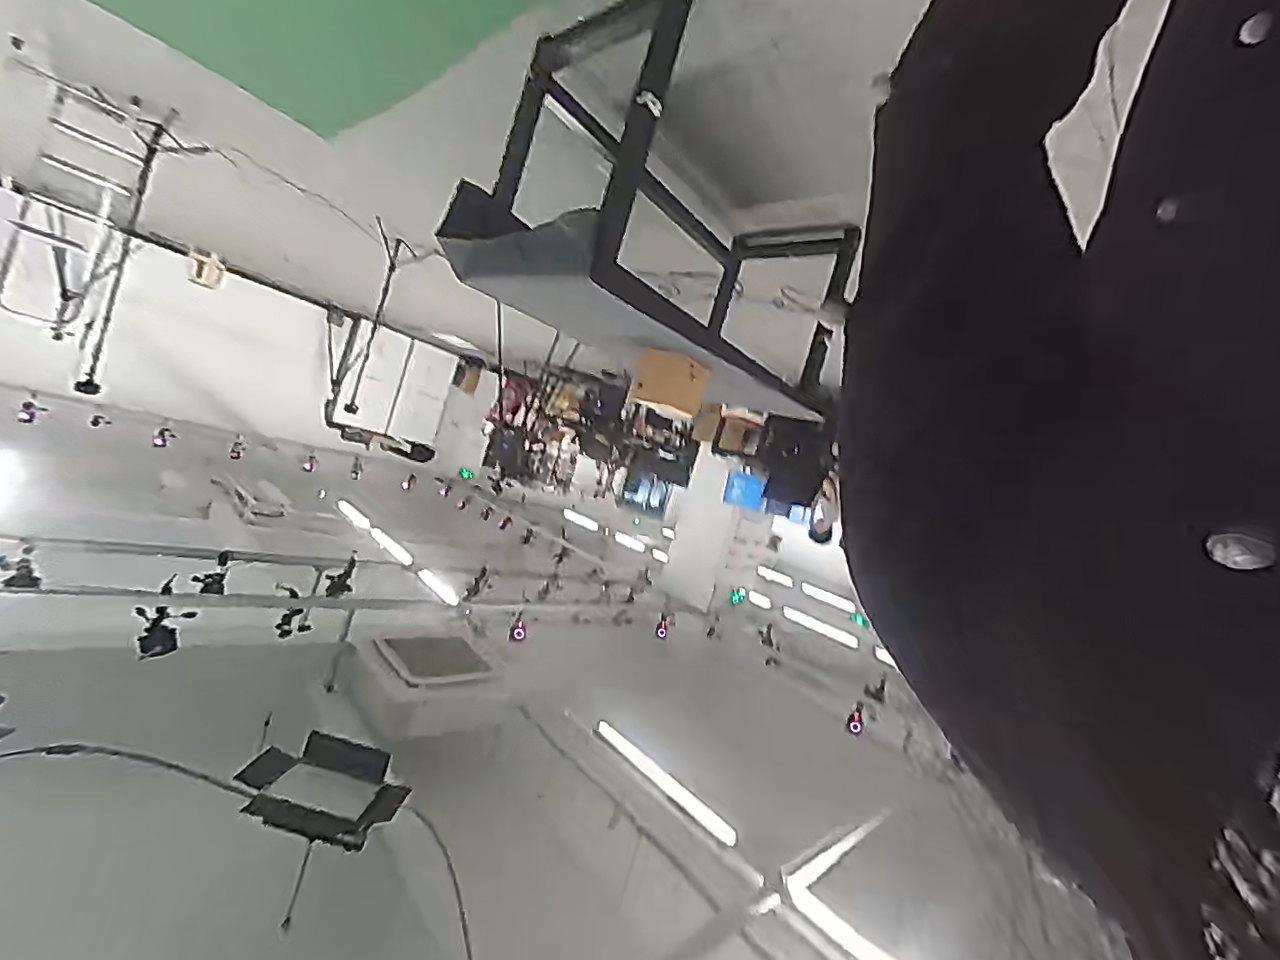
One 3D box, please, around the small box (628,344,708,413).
[{"bbox_3d":[0.093,-0.330,1.740,0.179,0.176,0.168,18,-176,42],"label":"small box"}]
